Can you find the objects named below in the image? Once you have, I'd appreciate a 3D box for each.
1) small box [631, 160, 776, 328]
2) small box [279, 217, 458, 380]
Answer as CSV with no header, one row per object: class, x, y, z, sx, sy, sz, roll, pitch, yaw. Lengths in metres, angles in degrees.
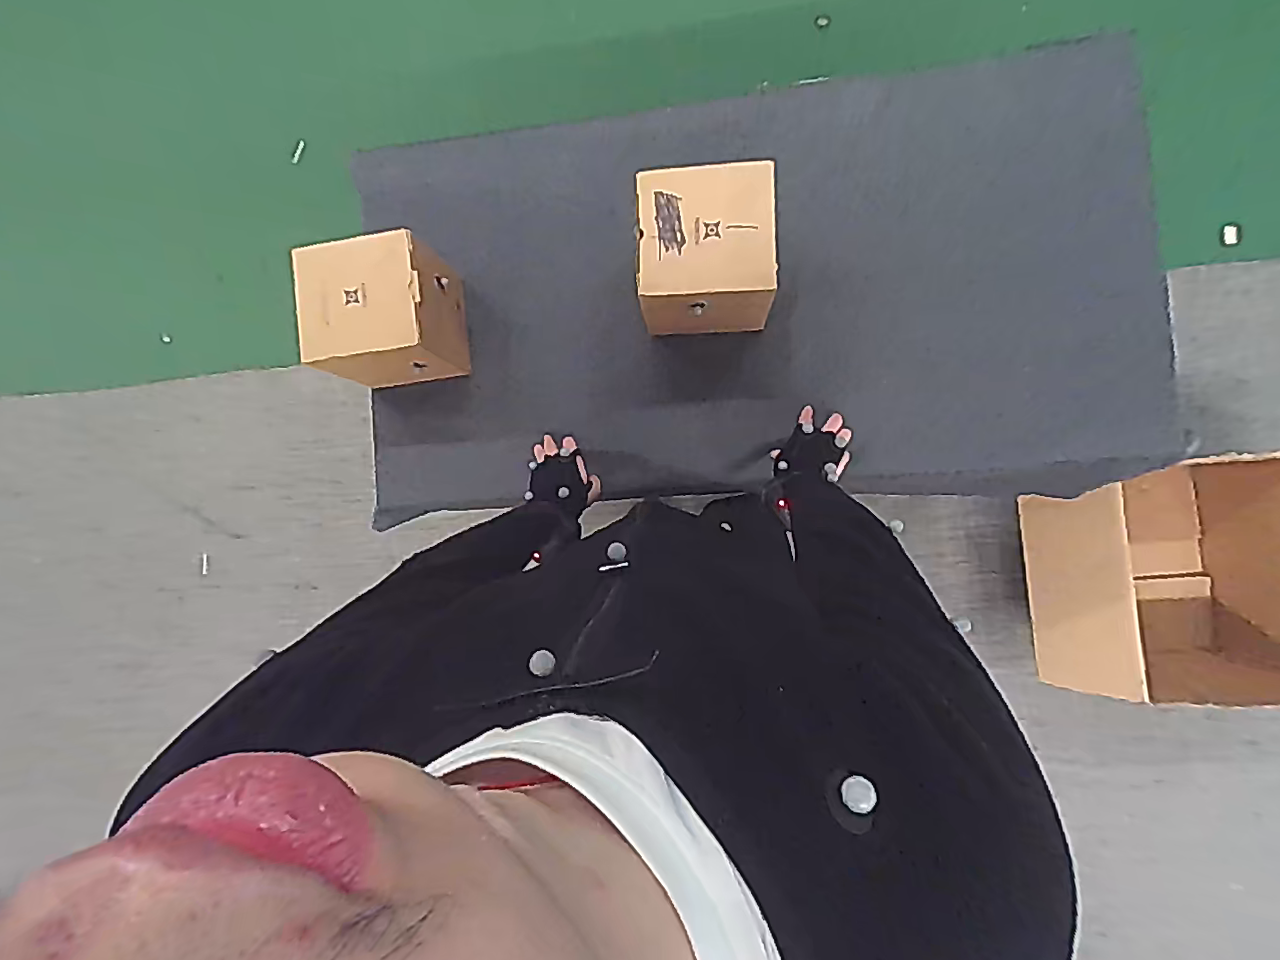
small box,0.088,-0.317,0.755,0.179,0.176,0.168,3,91,7
small box,-0.383,-0.254,0.794,0.179,0.176,0.168,-7,87,7
